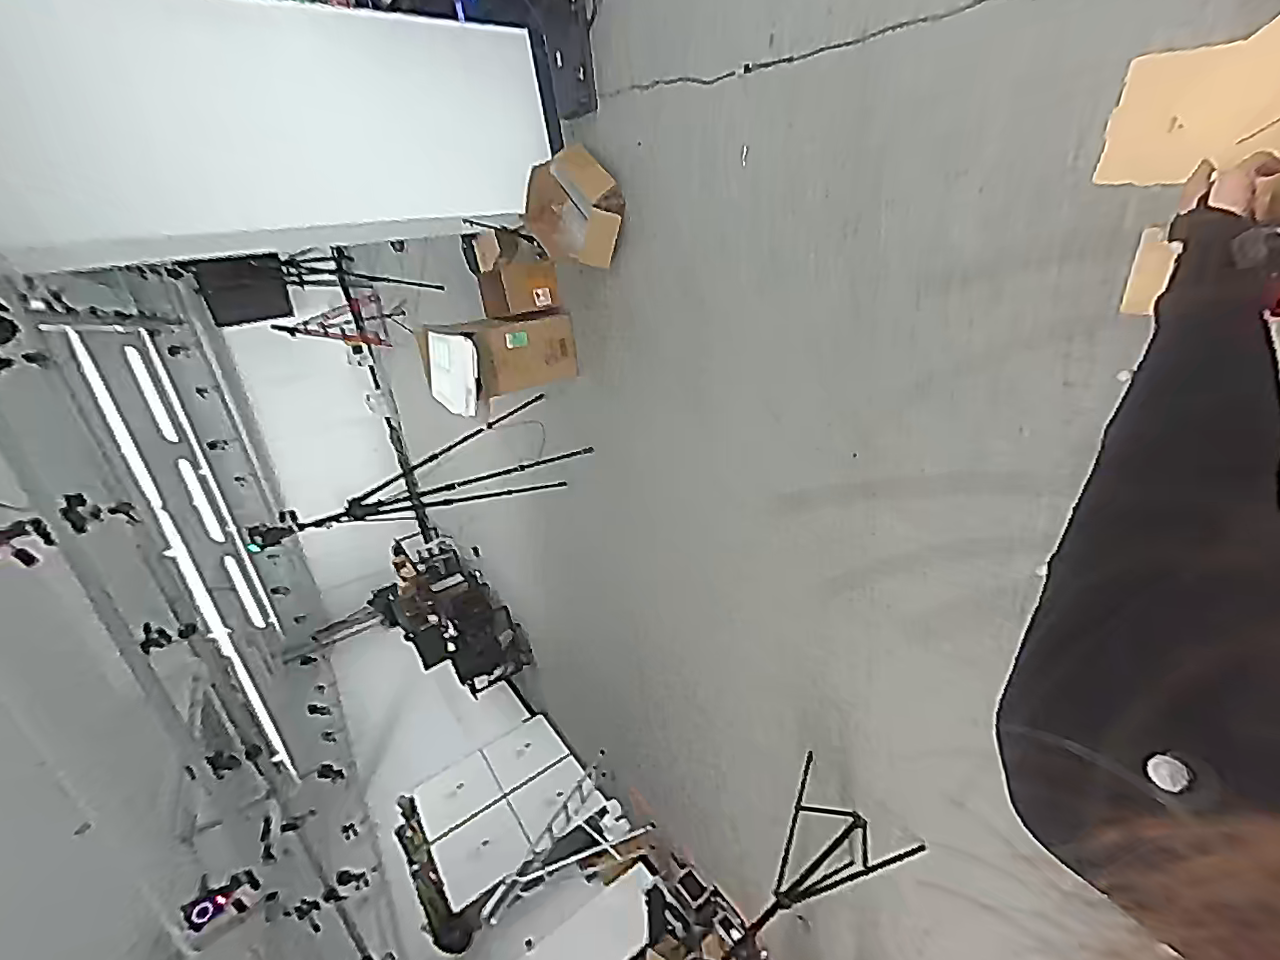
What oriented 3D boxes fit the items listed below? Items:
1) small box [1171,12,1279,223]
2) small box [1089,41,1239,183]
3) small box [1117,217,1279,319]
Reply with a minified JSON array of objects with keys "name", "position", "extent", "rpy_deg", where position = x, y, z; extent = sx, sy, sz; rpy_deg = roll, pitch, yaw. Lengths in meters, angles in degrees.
[{"name":"small box","position":[0.686,-0.380,0.521],"extent":[0.179,0.176,0.168],"rpy_deg":[-39,73,58]},{"name":"small box","position":[0.834,-0.539,0.805],"extent":[0.179,0.176,0.168],"rpy_deg":[34,137,46]},{"name":"small box","position":[1.114,-0.425,1.077],"extent":[0.179,0.176,0.168],"rpy_deg":[29,132,48]}]
